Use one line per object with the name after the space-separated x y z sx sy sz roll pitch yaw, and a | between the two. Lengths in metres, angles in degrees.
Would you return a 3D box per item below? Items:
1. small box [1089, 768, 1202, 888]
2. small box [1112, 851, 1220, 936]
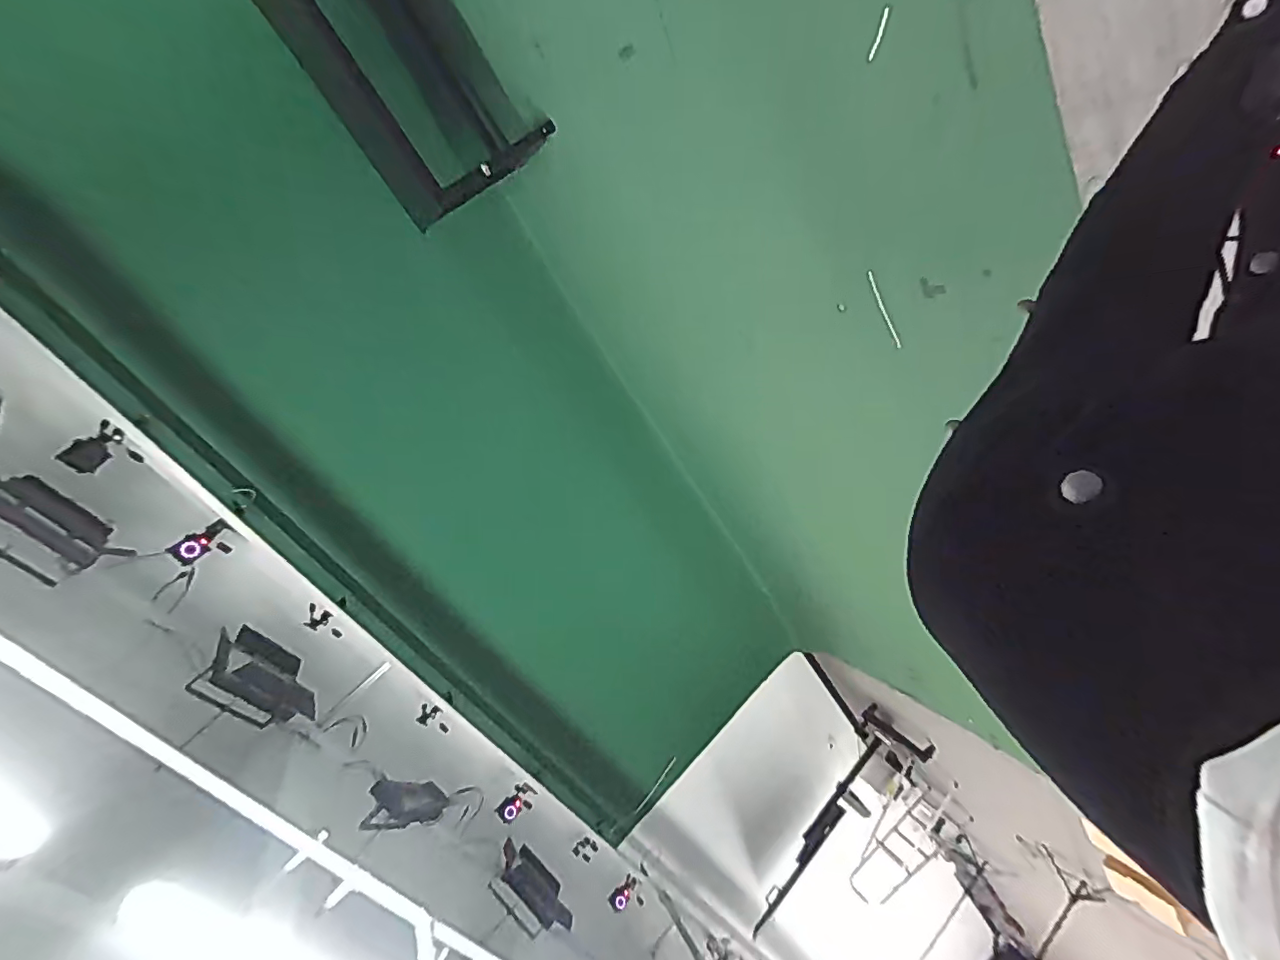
1.341 0.913 1.431 0.179 0.176 0.168 54 163 -24 | small box
1.496 1.122 1.538 0.179 0.176 0.168 55 164 -22 | small box
